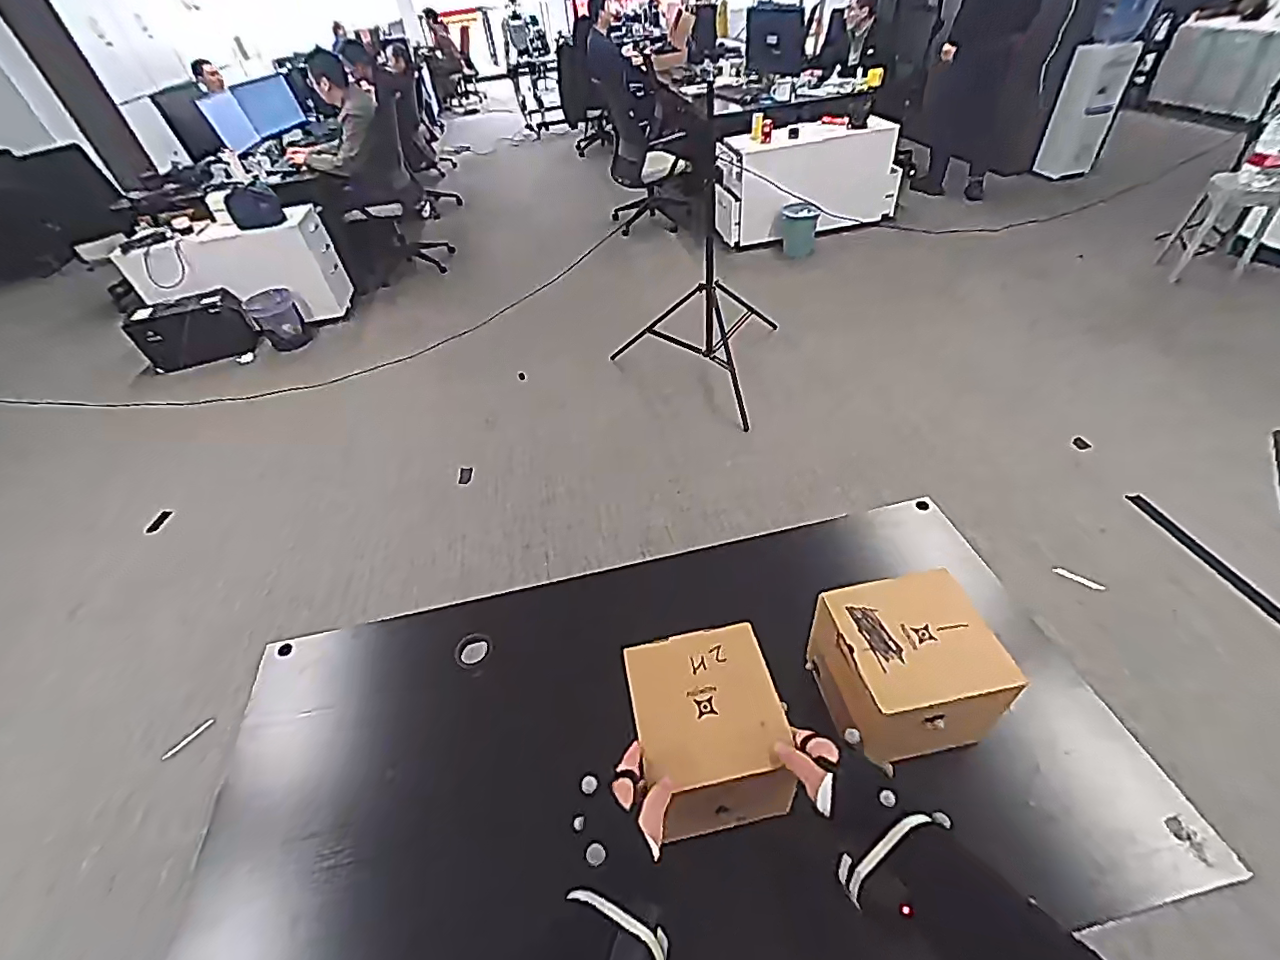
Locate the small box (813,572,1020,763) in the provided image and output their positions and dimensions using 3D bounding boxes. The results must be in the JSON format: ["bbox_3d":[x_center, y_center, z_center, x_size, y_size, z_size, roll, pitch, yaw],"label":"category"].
[{"bbox_3d":[0.342,0.250,0.716,0.179,0.176,0.168,-10,43,-3],"label":"small box"}]

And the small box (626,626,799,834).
[{"bbox_3d":[0.085,0.318,0.679,0.168,0.176,0.179,-11,42,-4],"label":"small box"}]
